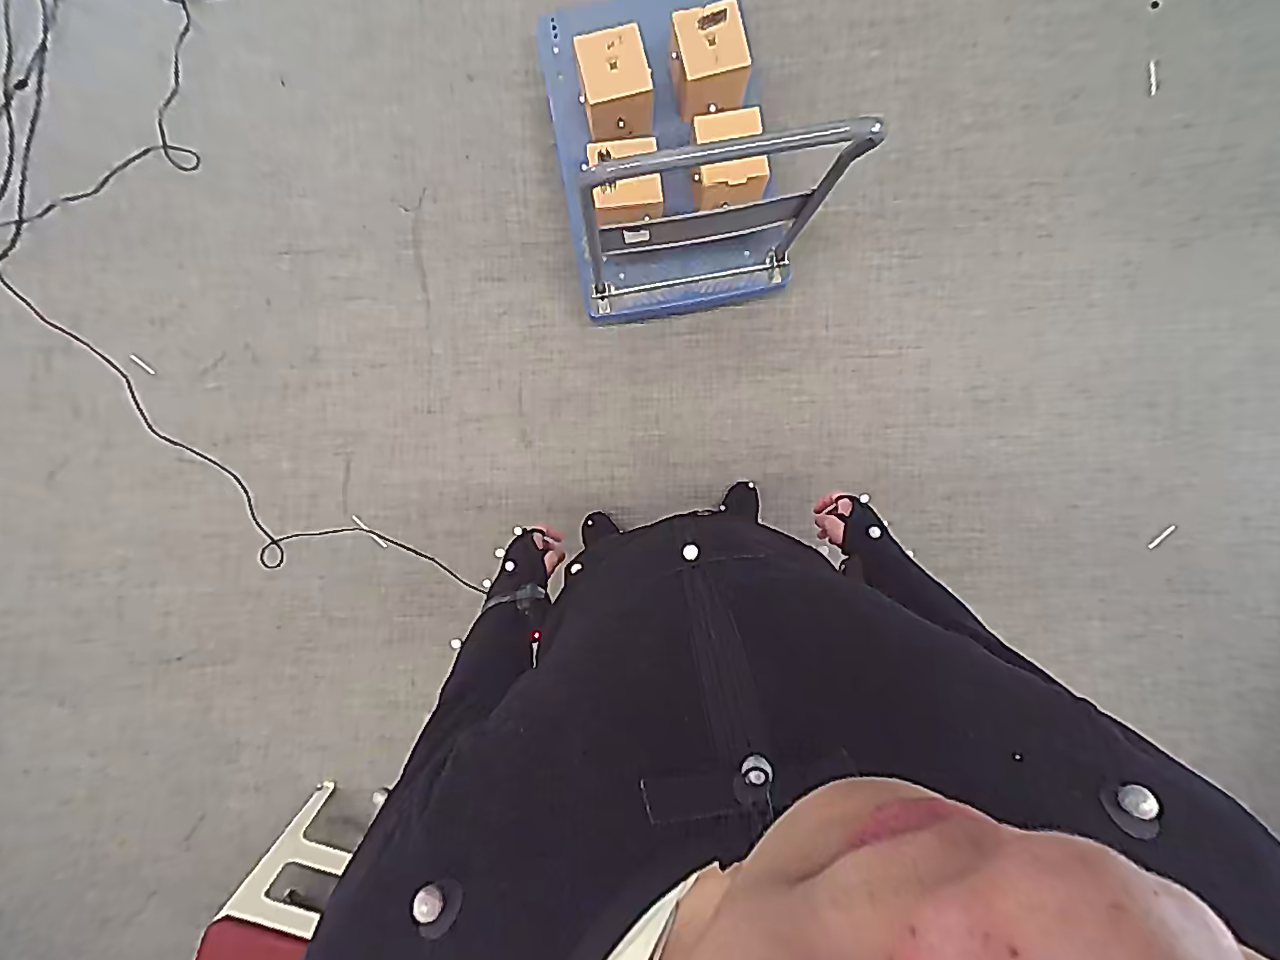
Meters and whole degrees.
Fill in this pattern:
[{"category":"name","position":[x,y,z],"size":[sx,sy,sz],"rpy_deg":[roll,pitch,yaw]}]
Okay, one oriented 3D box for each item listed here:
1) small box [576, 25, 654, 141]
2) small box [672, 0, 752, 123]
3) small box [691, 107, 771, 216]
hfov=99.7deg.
[{"category":"small box","position":[-0.061,-1.034,1.428],"size":[0.168,0.176,0.179],"rpy_deg":[-14,89,-1]},{"category":"small box","position":[0.183,-1.095,1.426],"size":[0.168,0.176,0.179],"rpy_deg":[-13,90,1]},{"category":"small box","position":[0.231,-0.829,1.421],"size":[0.168,0.176,0.179],"rpy_deg":[-9,89,0]}]
